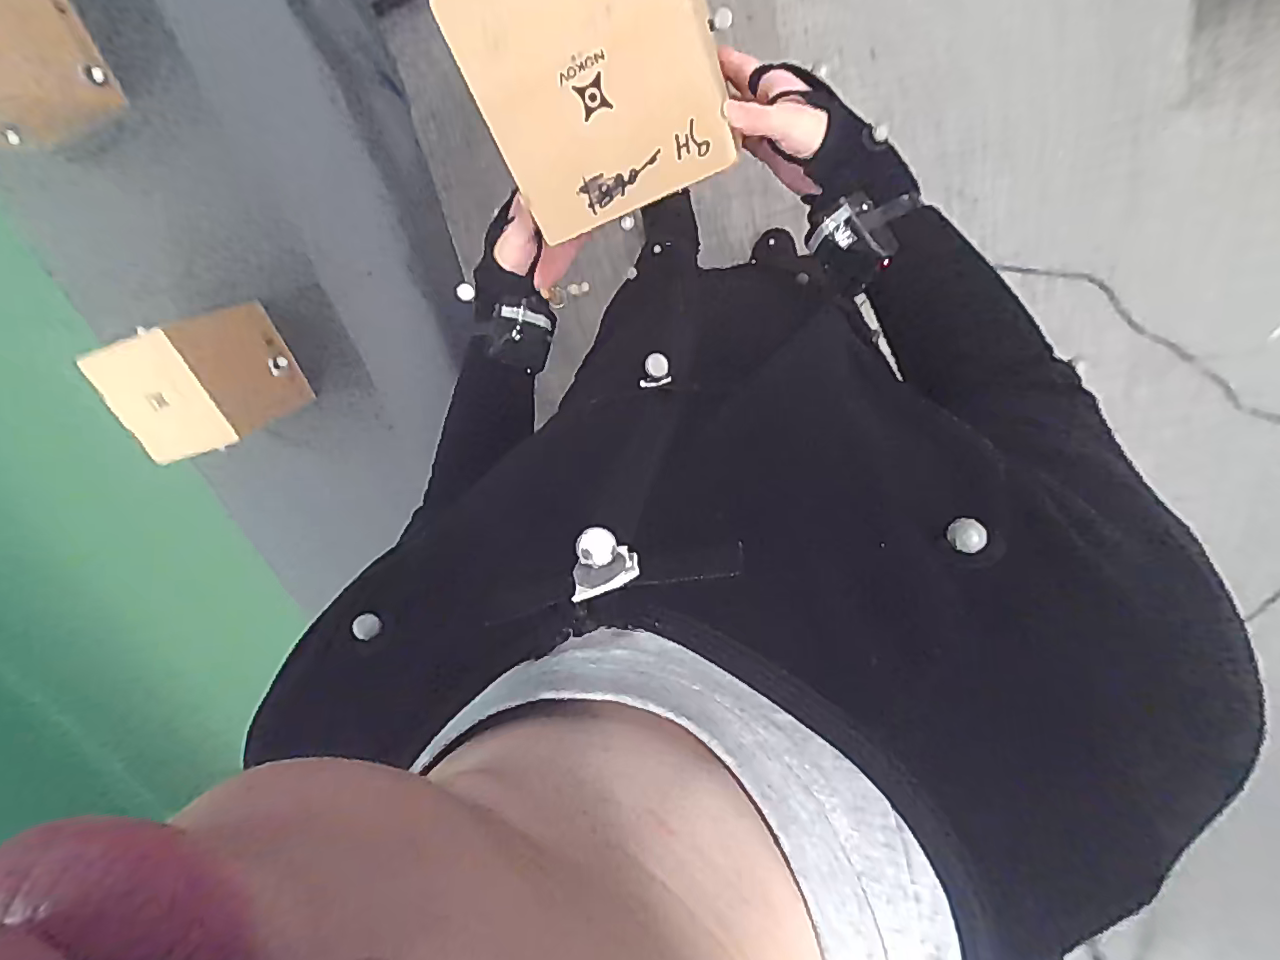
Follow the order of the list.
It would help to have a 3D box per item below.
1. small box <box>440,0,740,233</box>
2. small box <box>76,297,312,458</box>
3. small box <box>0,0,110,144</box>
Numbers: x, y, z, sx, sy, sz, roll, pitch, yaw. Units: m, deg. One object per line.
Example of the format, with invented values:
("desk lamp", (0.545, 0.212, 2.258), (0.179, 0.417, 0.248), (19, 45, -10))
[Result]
("small box", (-0.021, -0.331, 0.434), (0.168, 0.176, 0.179), (-12, 125, 21))
("small box", (-0.648, -0.156, 0.810), (0.179, 0.176, 0.168), (-13, 118, 17))
("small box", (-0.788, -0.508, 0.626), (0.179, 0.176, 0.168), (-9, 118, 17))
